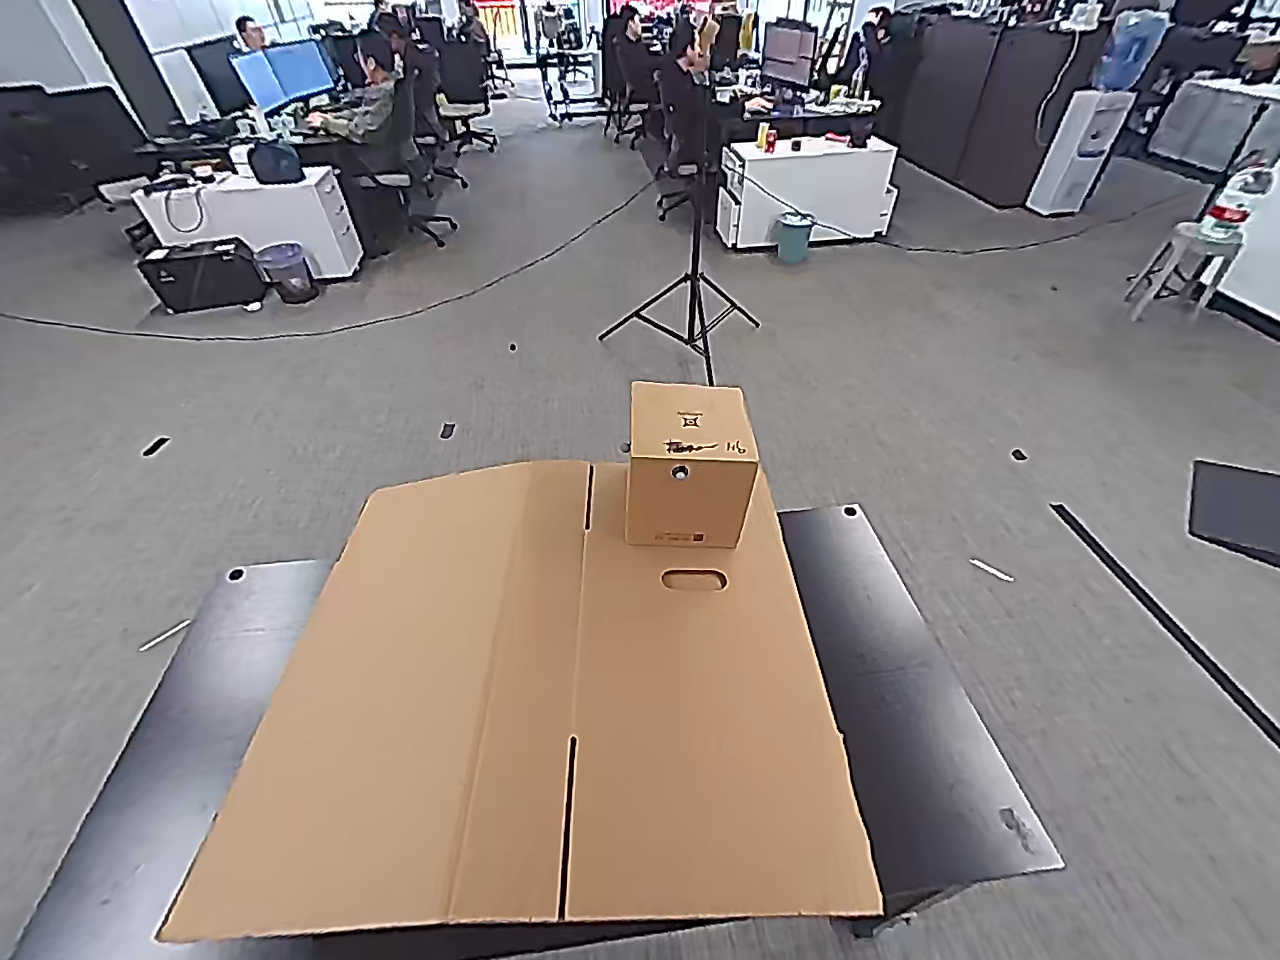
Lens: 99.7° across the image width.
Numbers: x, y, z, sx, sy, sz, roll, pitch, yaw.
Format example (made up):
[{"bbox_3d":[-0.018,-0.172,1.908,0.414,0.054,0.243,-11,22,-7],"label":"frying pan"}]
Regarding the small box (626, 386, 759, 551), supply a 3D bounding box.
[{"bbox_3d":[0.065,-0.018,0.795,0.168,0.176,0.179,2,41,-2],"label":"small box"}]
